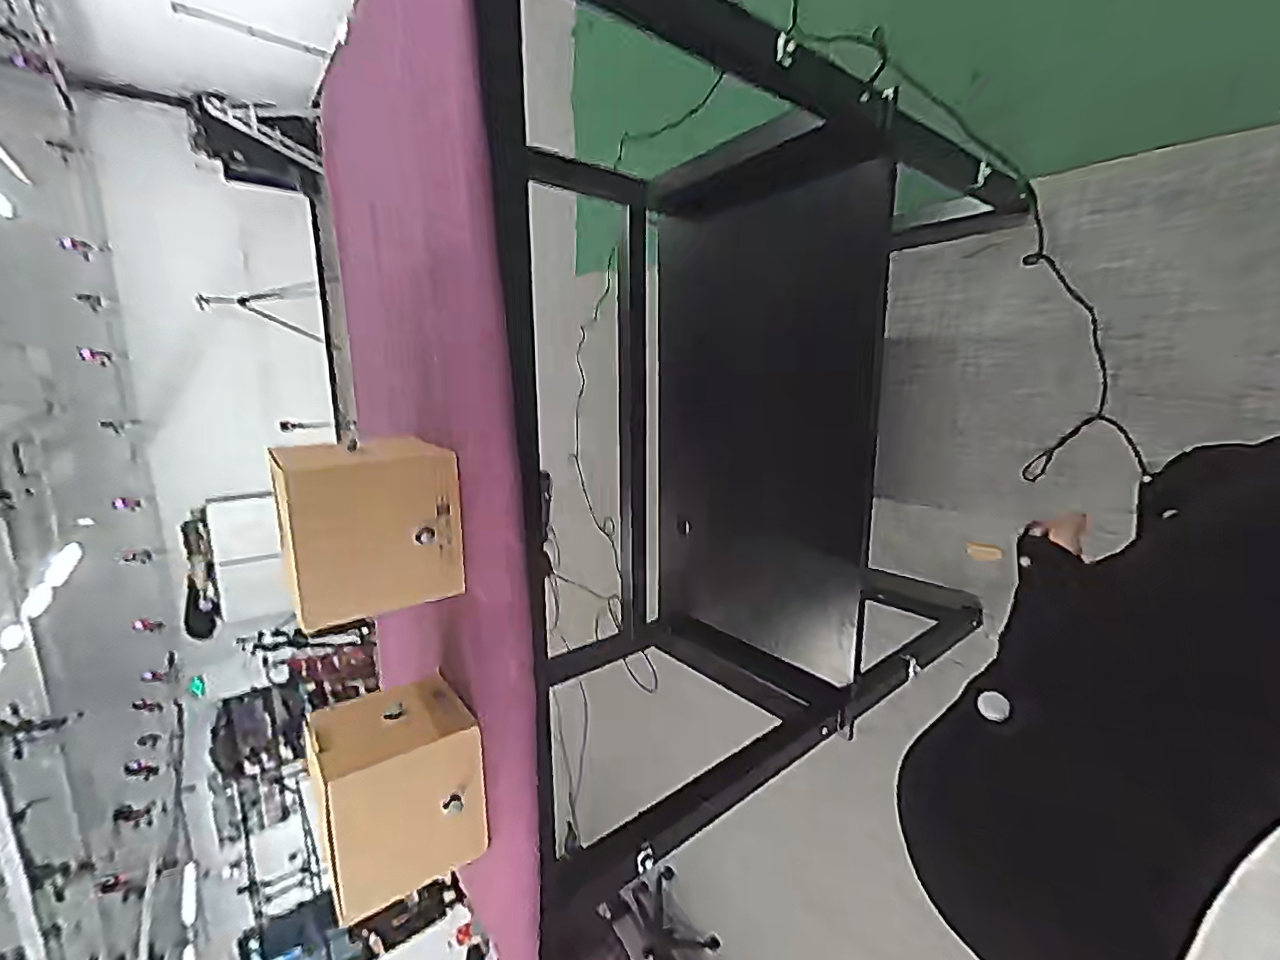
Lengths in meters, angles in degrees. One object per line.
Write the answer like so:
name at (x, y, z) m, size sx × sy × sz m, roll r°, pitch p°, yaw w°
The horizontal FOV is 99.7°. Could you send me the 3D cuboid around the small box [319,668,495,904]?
small box at (-0.296, 0.366, 0.691) m, size 0.168 × 0.176 × 0.179 m, roll 9°, pitch 103°, yaw 53°
